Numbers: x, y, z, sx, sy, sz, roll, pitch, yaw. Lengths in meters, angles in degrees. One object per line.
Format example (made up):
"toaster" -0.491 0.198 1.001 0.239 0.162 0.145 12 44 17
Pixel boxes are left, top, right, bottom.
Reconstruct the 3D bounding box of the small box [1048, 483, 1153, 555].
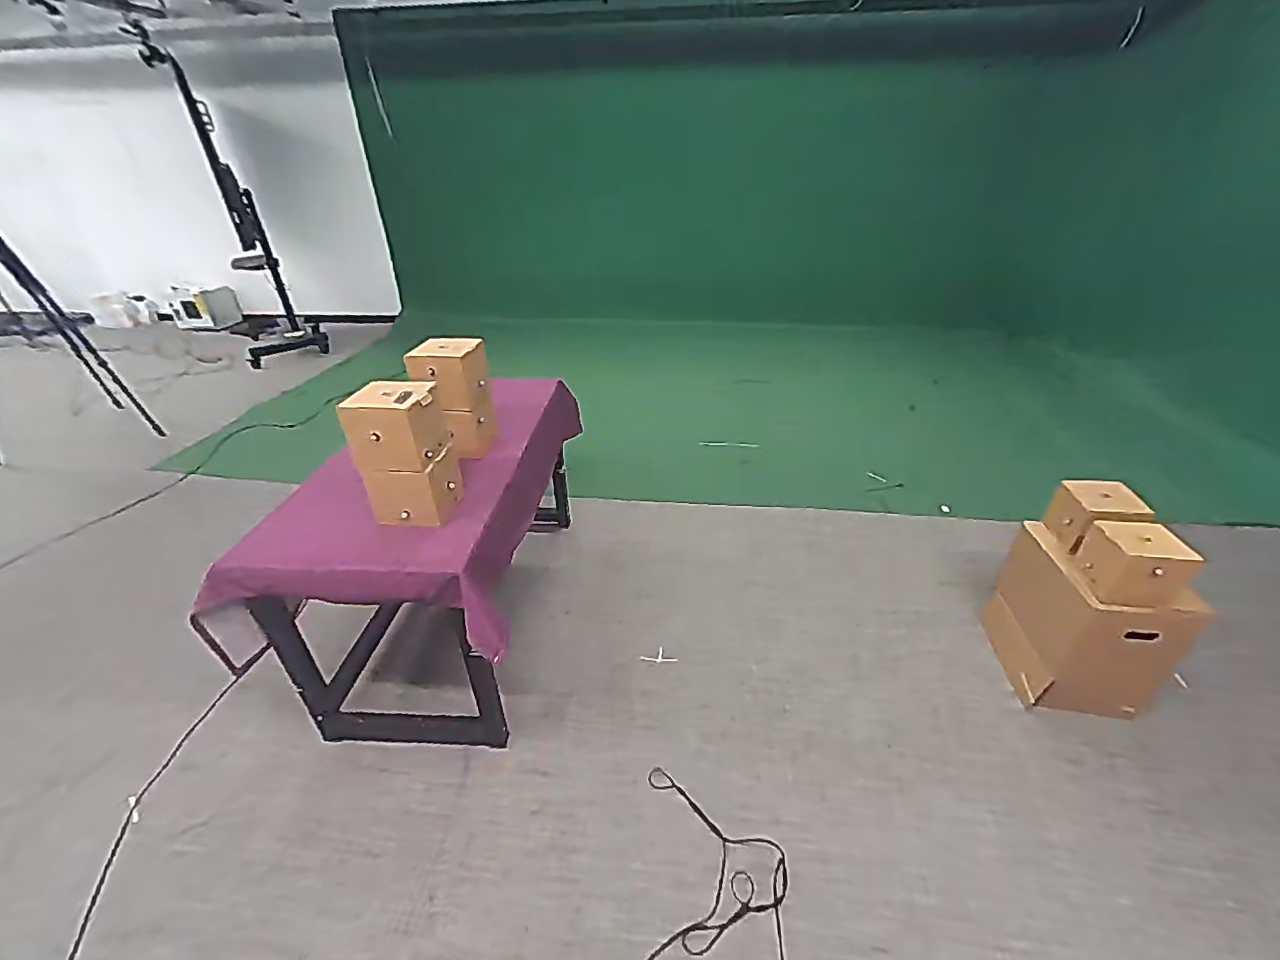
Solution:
"small box" 1.415 0.126 1.684 0.179 0.176 0.168 3 35 7

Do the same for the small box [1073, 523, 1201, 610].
"small box" 1.364 0.241 1.500 0.179 0.176 0.168 4 31 7

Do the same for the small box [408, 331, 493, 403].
"small box" -0.562 -0.340 1.627 0.179 0.176 0.168 4 33 8

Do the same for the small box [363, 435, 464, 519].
"small box" -0.582 -0.011 1.418 0.179 0.176 0.168 3 32 5

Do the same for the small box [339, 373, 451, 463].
"small box" -0.591 -0.152 1.333 0.179 0.176 0.168 2 32 7
